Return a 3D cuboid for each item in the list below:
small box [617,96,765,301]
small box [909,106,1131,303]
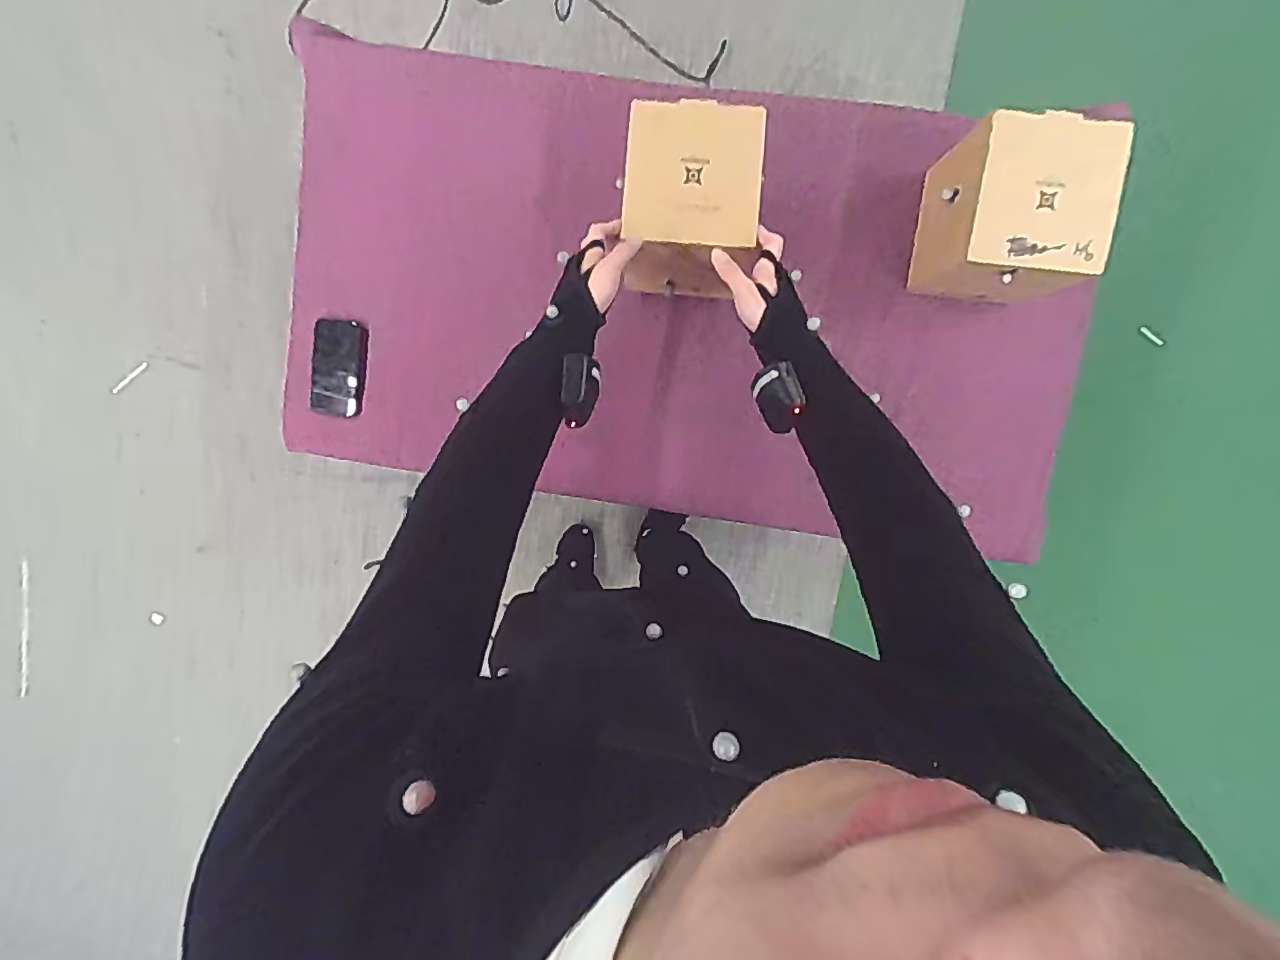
[{"bbox_3d":[0.061,-0.361,0.720,0.168,0.176,0.179,5,87,1],"label":"small box"},{"bbox_3d":[0.484,-0.350,0.718,0.168,0.176,0.179,7,96,2],"label":"small box"}]
